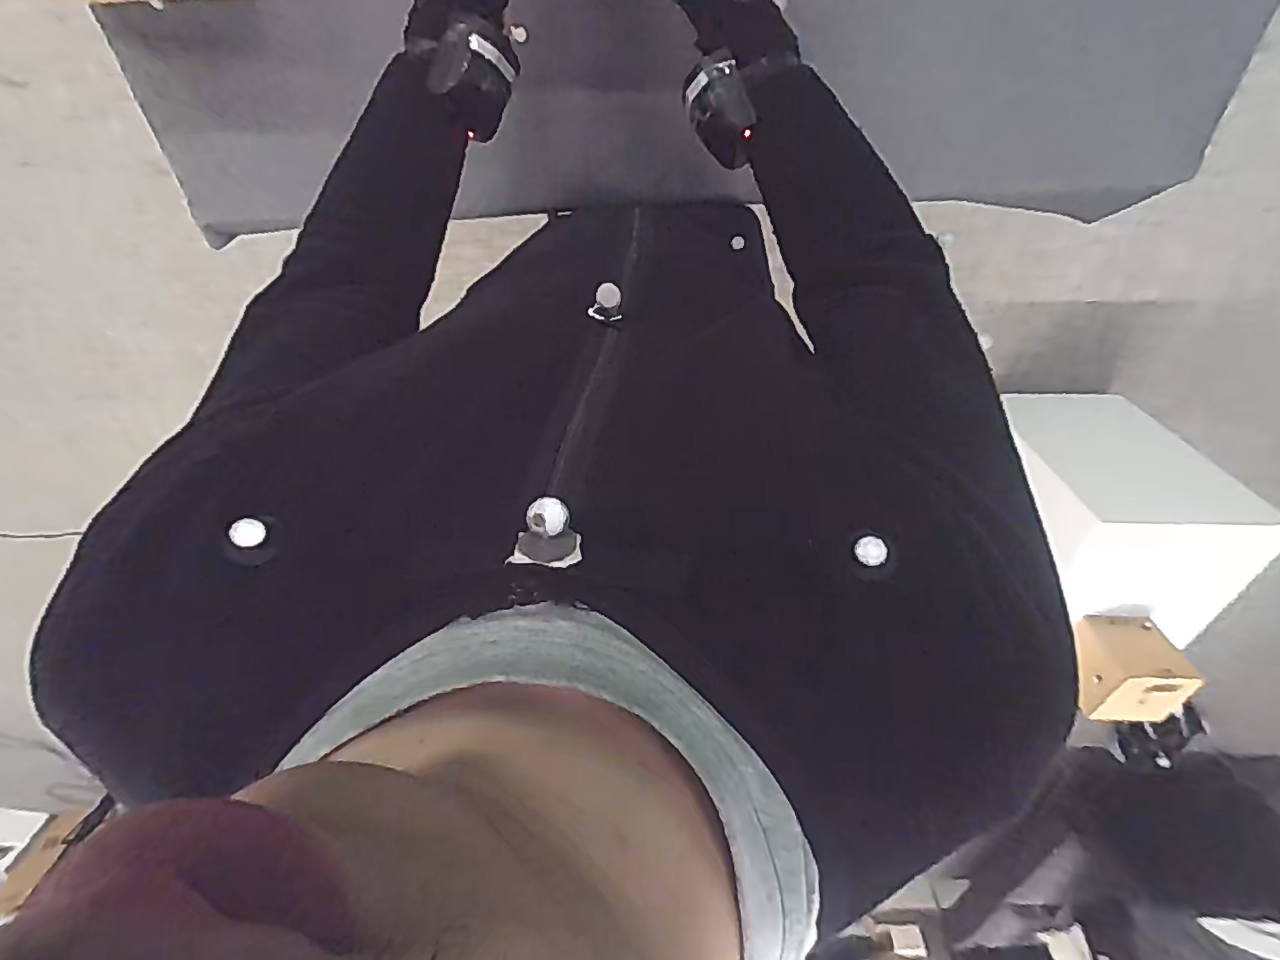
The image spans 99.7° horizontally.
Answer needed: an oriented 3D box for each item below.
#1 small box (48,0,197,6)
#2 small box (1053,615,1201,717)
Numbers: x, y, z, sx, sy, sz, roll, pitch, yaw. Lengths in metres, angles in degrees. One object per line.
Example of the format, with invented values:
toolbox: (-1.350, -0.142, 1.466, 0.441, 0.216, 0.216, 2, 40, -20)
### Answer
small box: (-0.475, -0.494, 0.424, 0.179, 0.176, 0.168, -2, 125, 2)
small box: (1.139, 0.438, 1.287, 0.168, 0.176, 0.179, 0, 127, 0)
